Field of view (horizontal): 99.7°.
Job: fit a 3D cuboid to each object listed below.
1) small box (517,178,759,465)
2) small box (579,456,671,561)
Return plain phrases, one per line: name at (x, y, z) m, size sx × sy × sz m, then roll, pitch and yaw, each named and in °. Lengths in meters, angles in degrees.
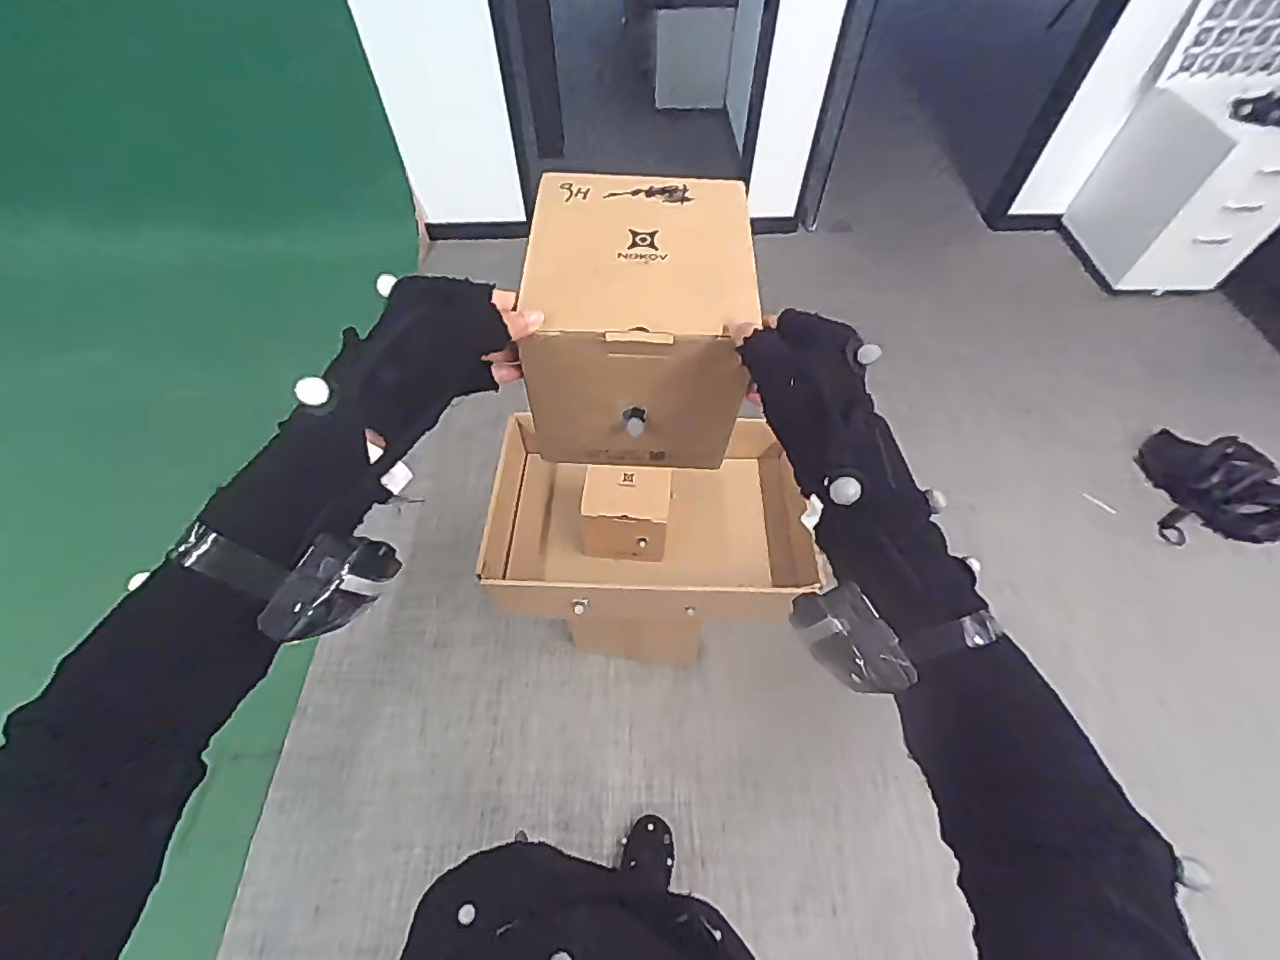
small box at (0.000, -0.126, 0.467) m, size 0.168 × 0.176 × 0.179 m, roll 2°, pitch 61°, yaw -1°
small box at (-0.027, 0.050, 1.098) m, size 0.168 × 0.176 × 0.179 m, roll 5°, pitch 53°, yaw 0°
